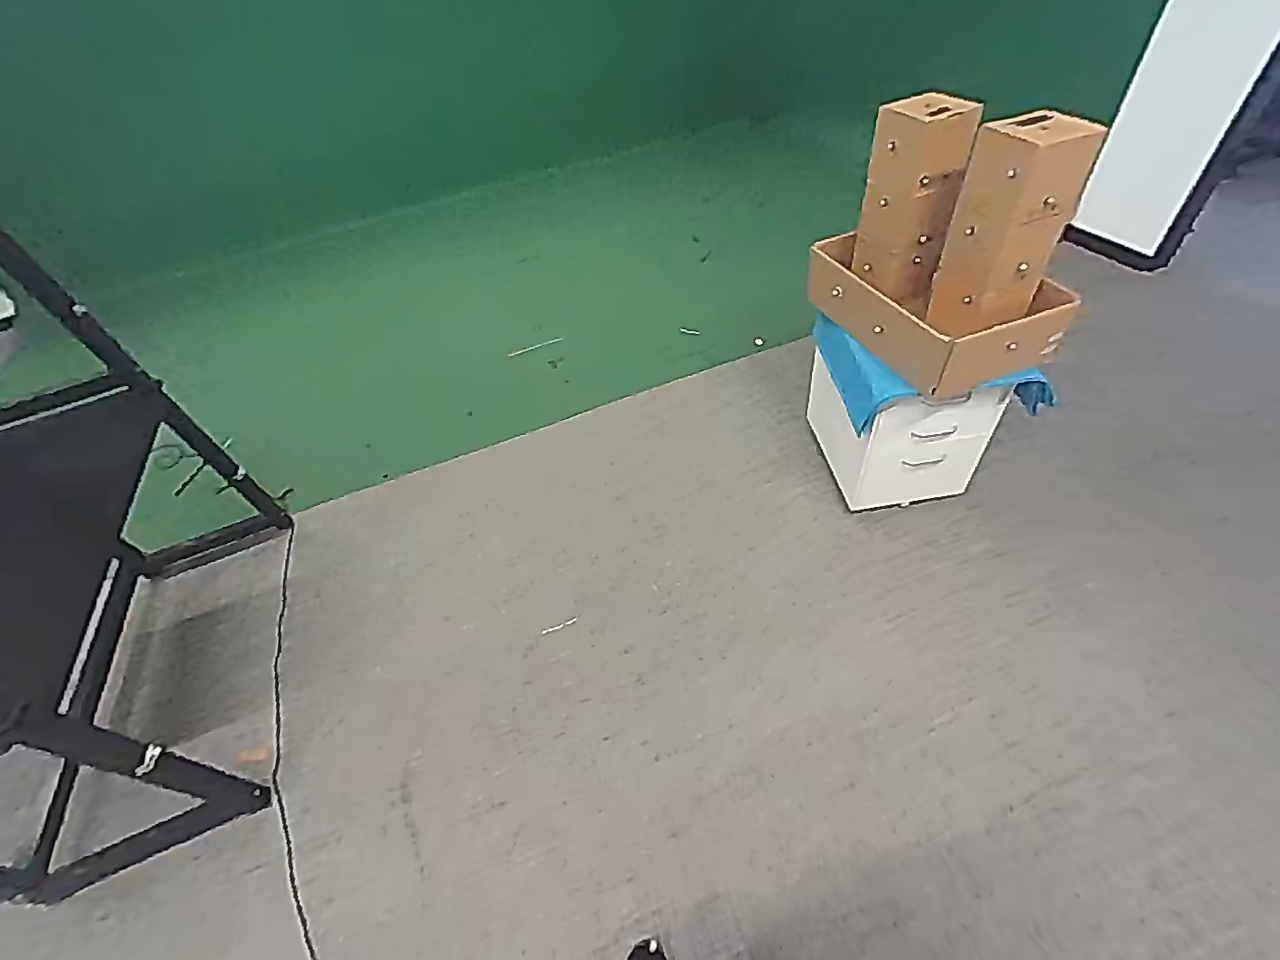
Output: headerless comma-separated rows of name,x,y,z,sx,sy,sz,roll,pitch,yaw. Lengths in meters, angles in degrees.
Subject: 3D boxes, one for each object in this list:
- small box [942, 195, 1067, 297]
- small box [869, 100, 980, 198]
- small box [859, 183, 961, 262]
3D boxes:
small box,0.896,-0.584,1.352,0.168,0.176,0.179,-17,47,-6
small box,0.728,-0.855,1.405,0.168,0.176,0.179,-20,47,-9
small box,0.748,-0.741,1.520,0.168,0.176,0.179,-23,49,-12
